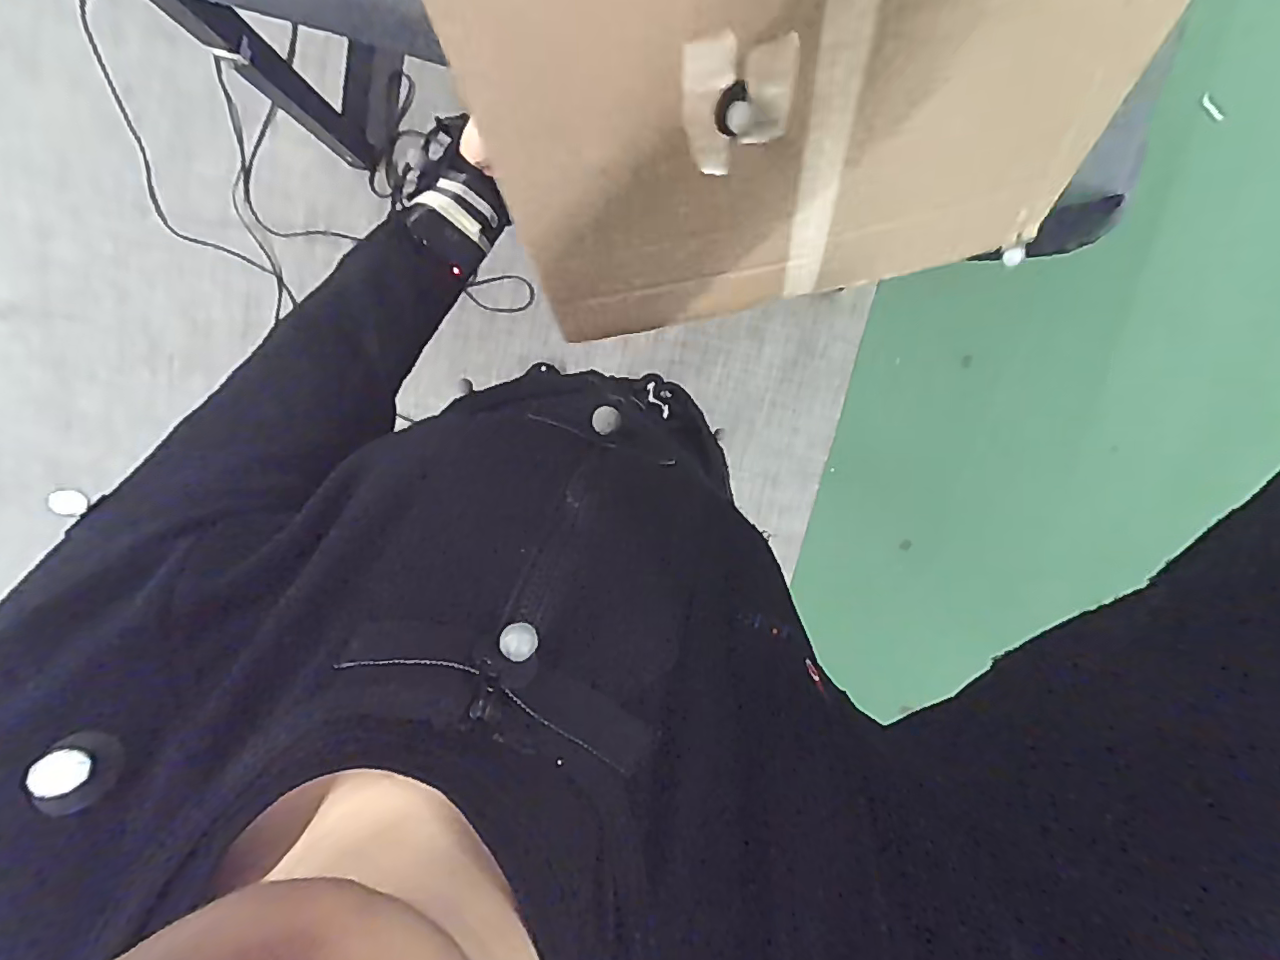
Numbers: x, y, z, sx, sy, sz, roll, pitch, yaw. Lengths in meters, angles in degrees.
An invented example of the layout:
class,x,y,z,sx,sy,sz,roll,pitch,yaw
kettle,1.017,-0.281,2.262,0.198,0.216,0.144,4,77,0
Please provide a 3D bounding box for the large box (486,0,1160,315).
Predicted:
class,x,y,z,sx,sy,sz,roll,pitch,yaw
large box,0.058,-0.356,0.245,0.320,0.408,0.320,-13,68,3
